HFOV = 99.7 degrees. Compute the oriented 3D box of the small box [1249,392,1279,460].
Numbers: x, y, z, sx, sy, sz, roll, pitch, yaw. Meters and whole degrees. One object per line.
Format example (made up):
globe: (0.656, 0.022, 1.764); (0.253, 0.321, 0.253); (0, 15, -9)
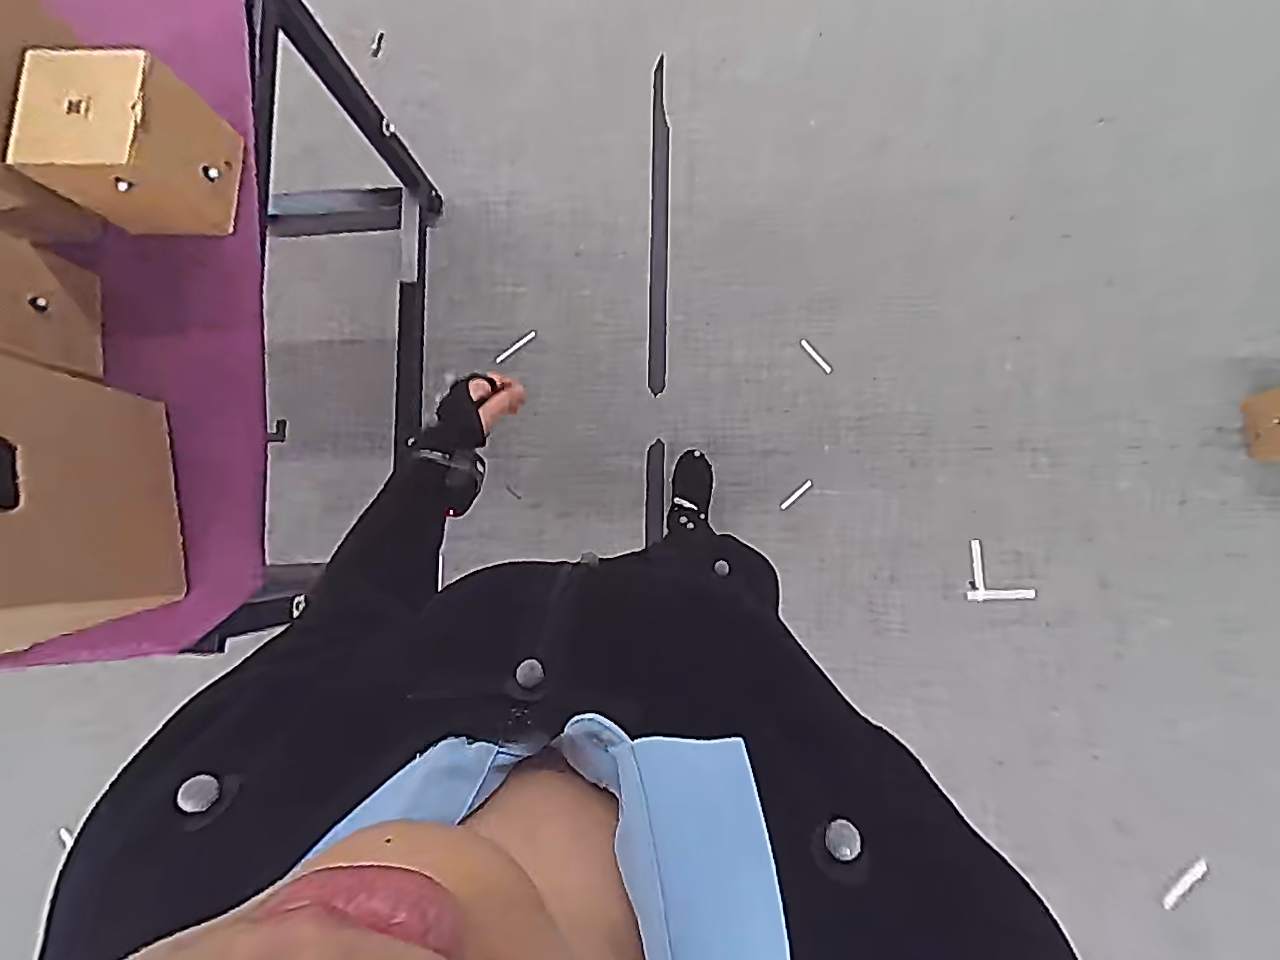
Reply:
small box: (1.676, -0.142, 1.335); (0.179, 0.176, 0.168); (-2, 84, 3)
